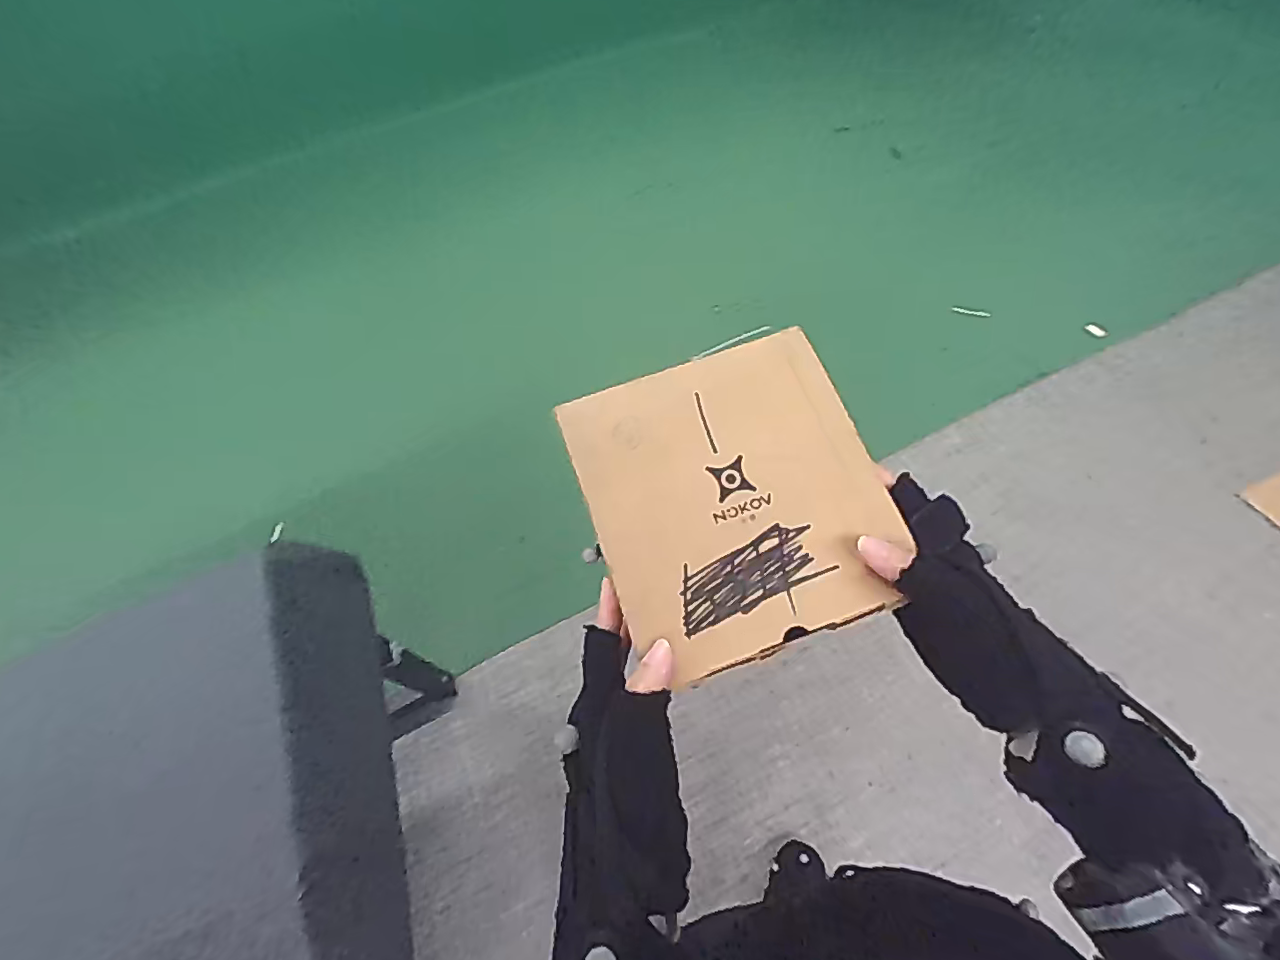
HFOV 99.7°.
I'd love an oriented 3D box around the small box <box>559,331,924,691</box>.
[{"bbox_3d":[0.058,0.030,0.397,0.168,0.176,0.179,-22,75,-5],"label":"small box"}]
